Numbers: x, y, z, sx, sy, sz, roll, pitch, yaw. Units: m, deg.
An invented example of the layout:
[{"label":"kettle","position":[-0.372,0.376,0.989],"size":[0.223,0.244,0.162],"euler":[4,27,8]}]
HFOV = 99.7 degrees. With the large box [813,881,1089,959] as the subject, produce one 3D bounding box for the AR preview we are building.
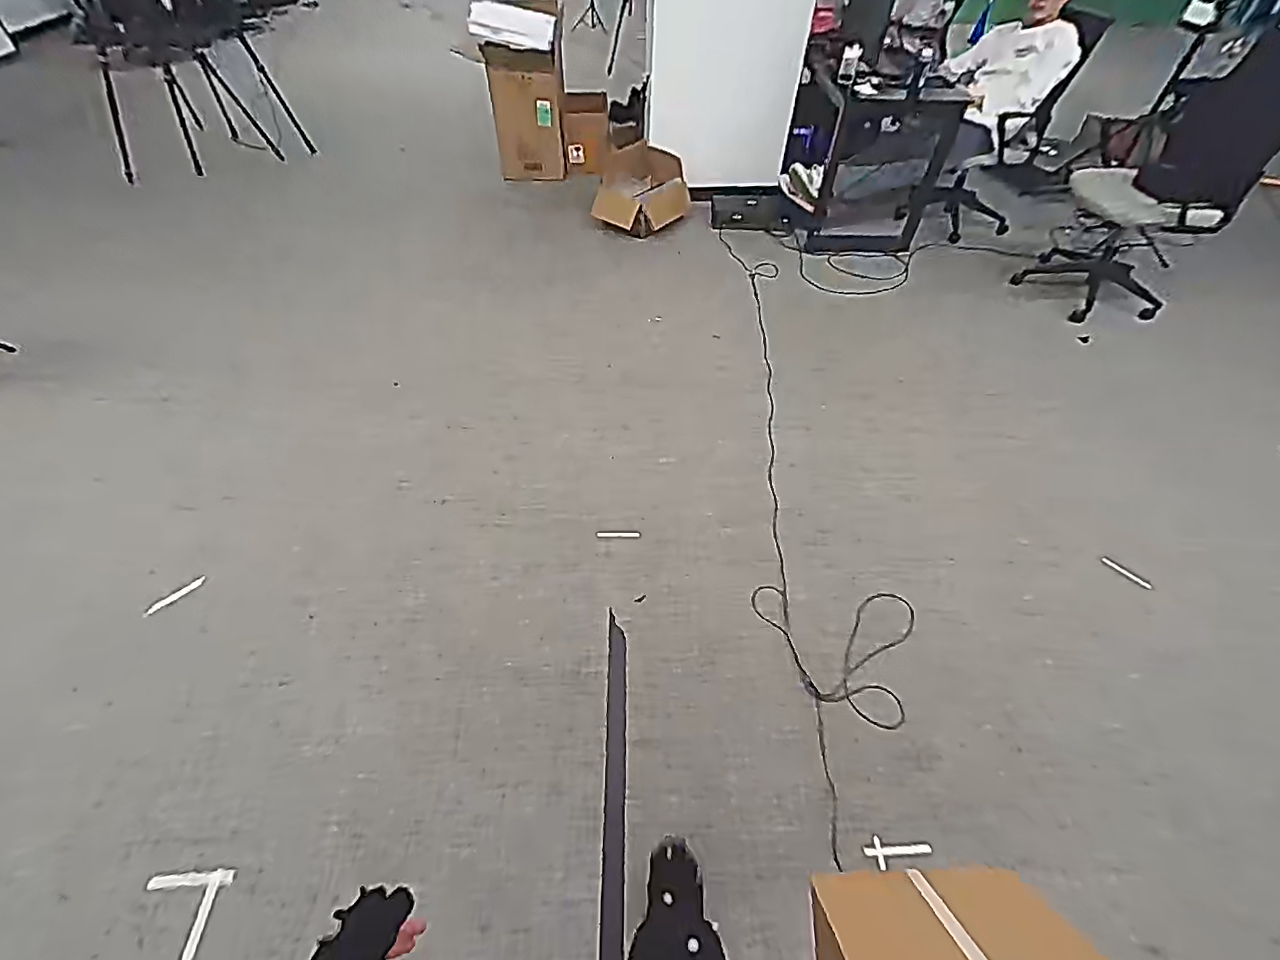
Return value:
[{"label":"large box","position":[0.416,0.751,0.618],"size":[0.320,0.408,0.320],"euler":[-2,85,1]}]
